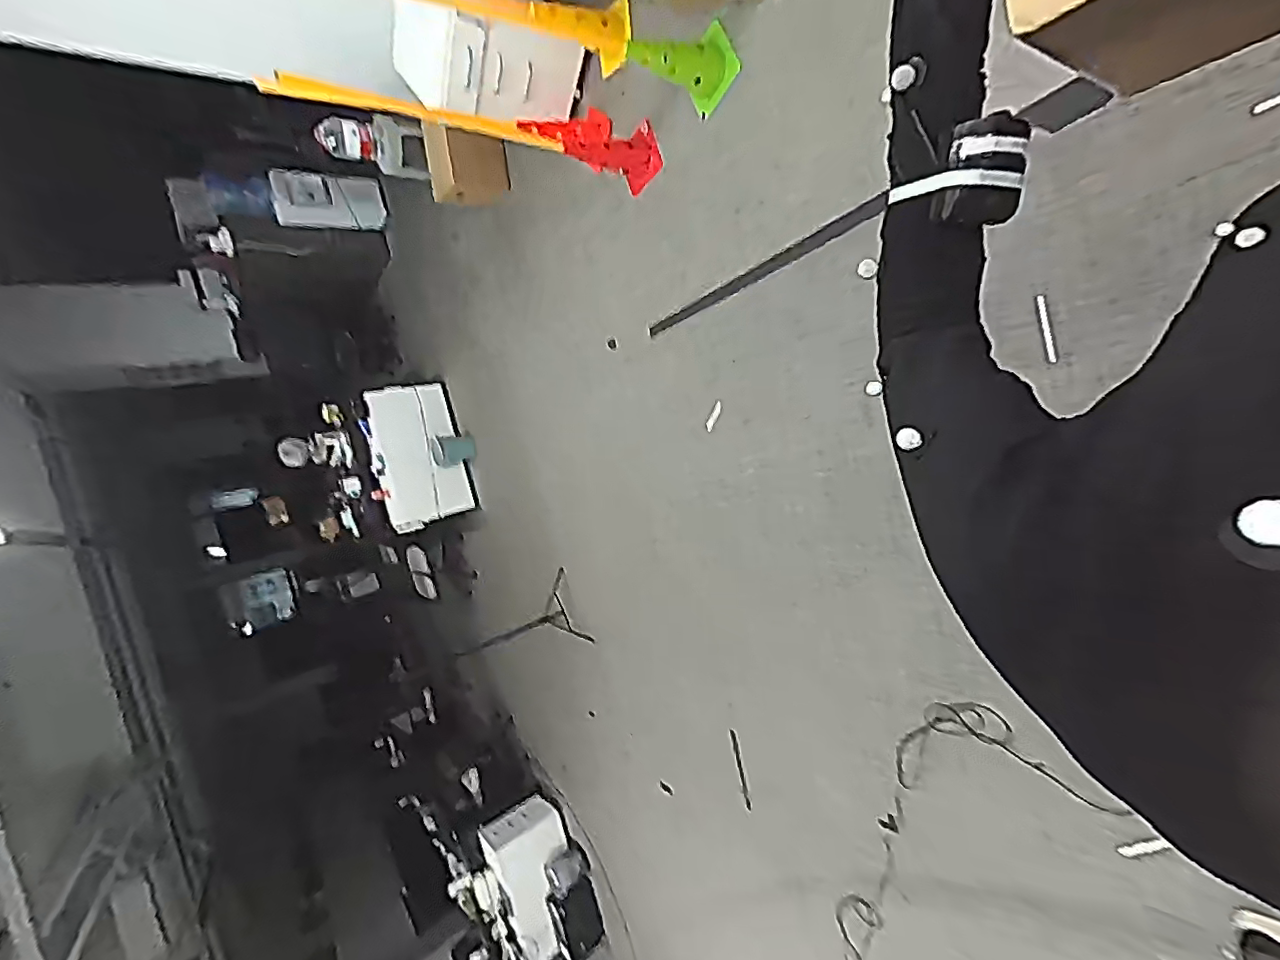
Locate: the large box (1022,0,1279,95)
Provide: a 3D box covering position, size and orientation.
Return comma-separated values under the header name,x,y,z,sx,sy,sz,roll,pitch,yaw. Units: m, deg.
name,x,y,z,sx,sy,sz,roll,pitch,yaw
large box,0.443,-0.478,0.258,0.408,0.320,0.320,-1,106,51
